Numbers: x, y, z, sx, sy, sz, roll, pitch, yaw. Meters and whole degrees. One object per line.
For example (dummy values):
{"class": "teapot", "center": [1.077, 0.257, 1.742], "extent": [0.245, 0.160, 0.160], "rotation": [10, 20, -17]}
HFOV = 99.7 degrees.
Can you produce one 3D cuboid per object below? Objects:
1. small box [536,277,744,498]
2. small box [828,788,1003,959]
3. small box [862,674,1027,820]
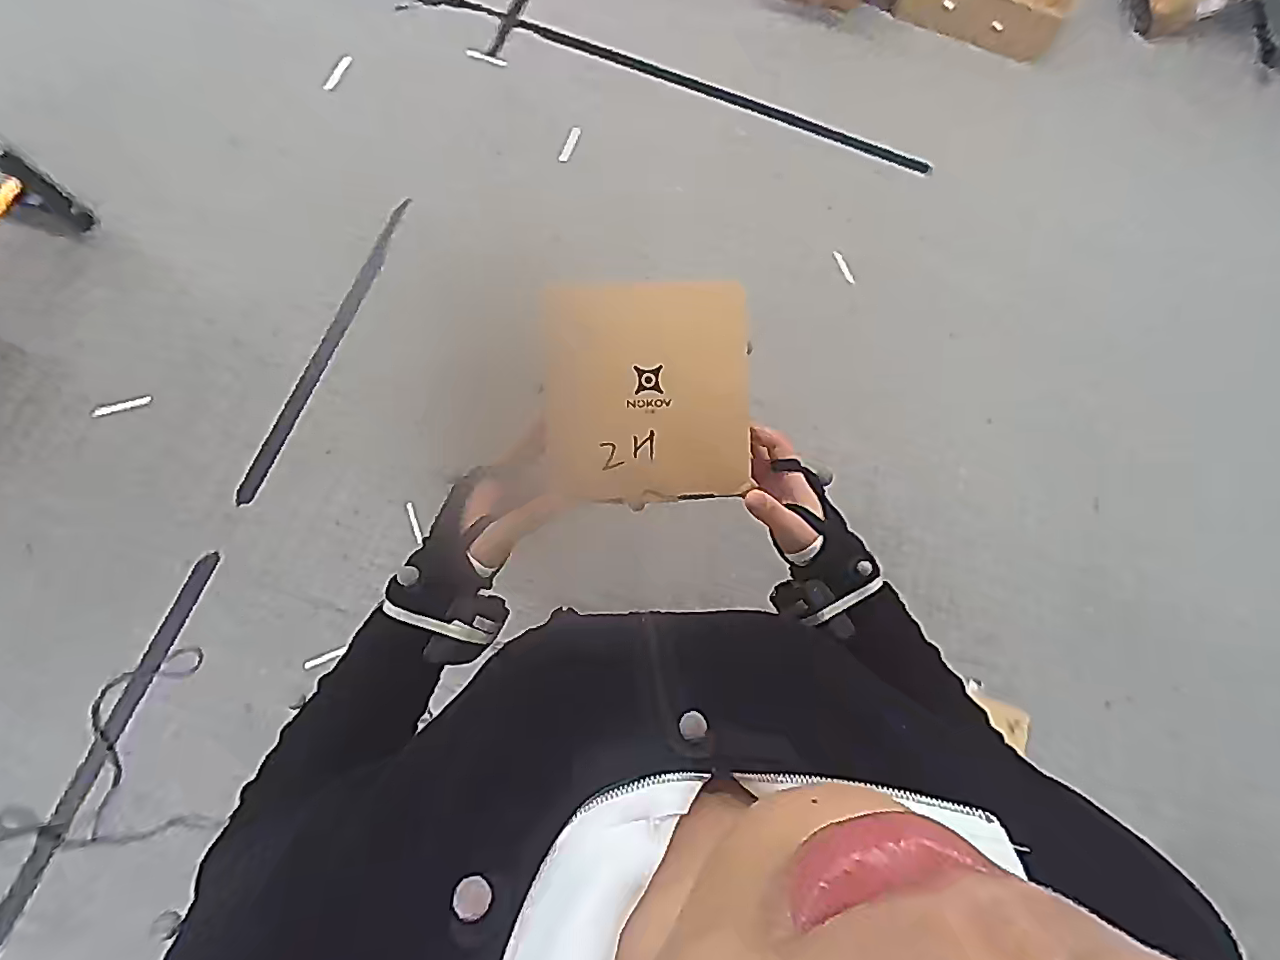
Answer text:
{"class": "small box", "center": [-0.008, -0.074, 0.508], "extent": [0.168, 0.176, 0.179], "rotation": [-3, 91, -5]}
{"class": "small box", "center": [0.439, 0.635, 0.882], "extent": [0.179, 0.176, 0.168], "rotation": [20, 77, 2]}
{"class": "small box", "center": [0.514, 0.446, 0.934], "extent": [0.179, 0.176, 0.168], "rotation": [21, 73, 2]}
